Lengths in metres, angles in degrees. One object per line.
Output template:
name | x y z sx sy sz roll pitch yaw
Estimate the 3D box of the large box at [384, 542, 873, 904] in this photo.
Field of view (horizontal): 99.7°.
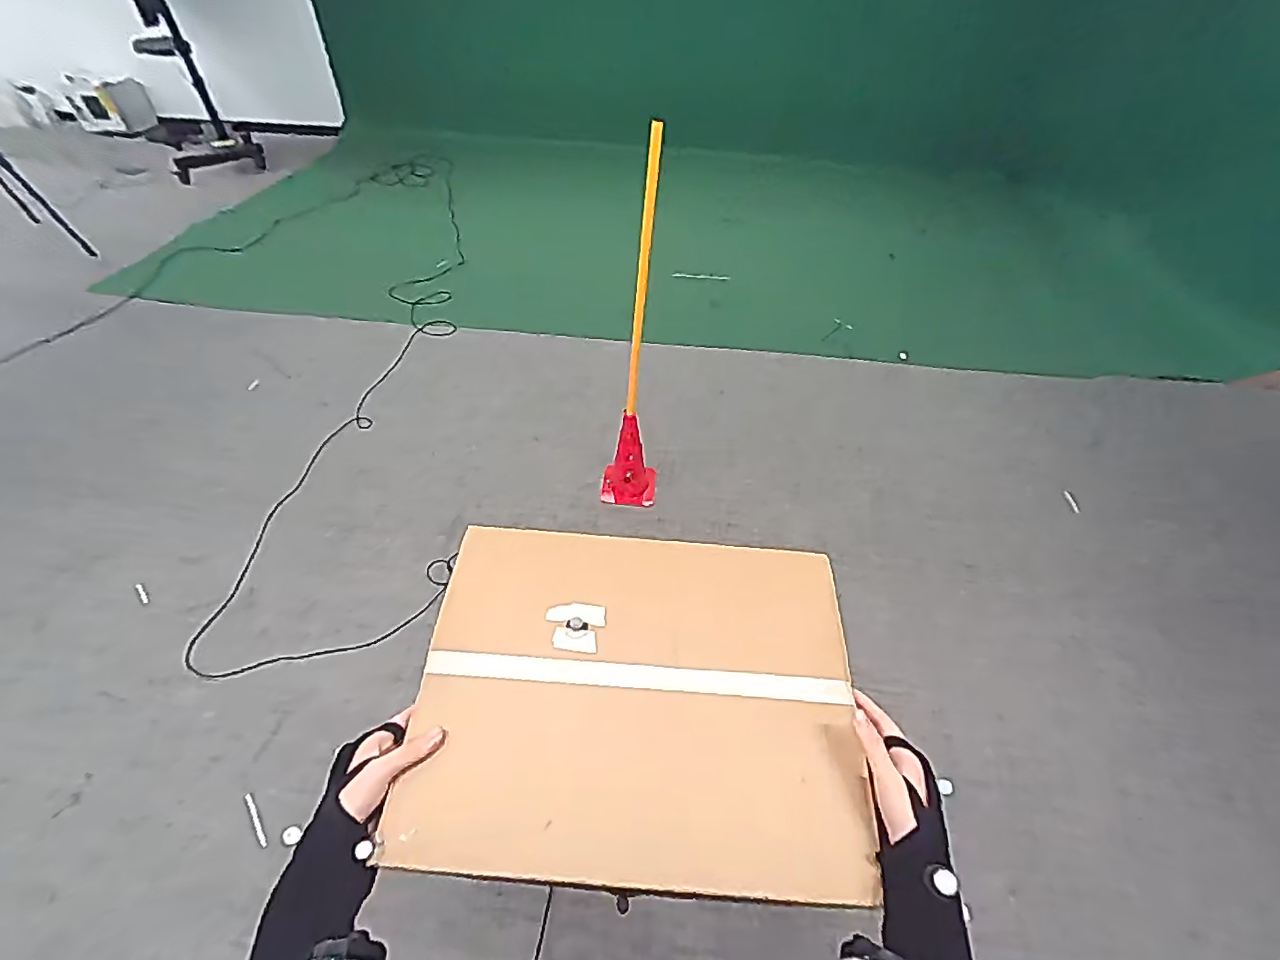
large box | -0.005 0.292 0.641 0.408 0.320 0.320 4 51 1
